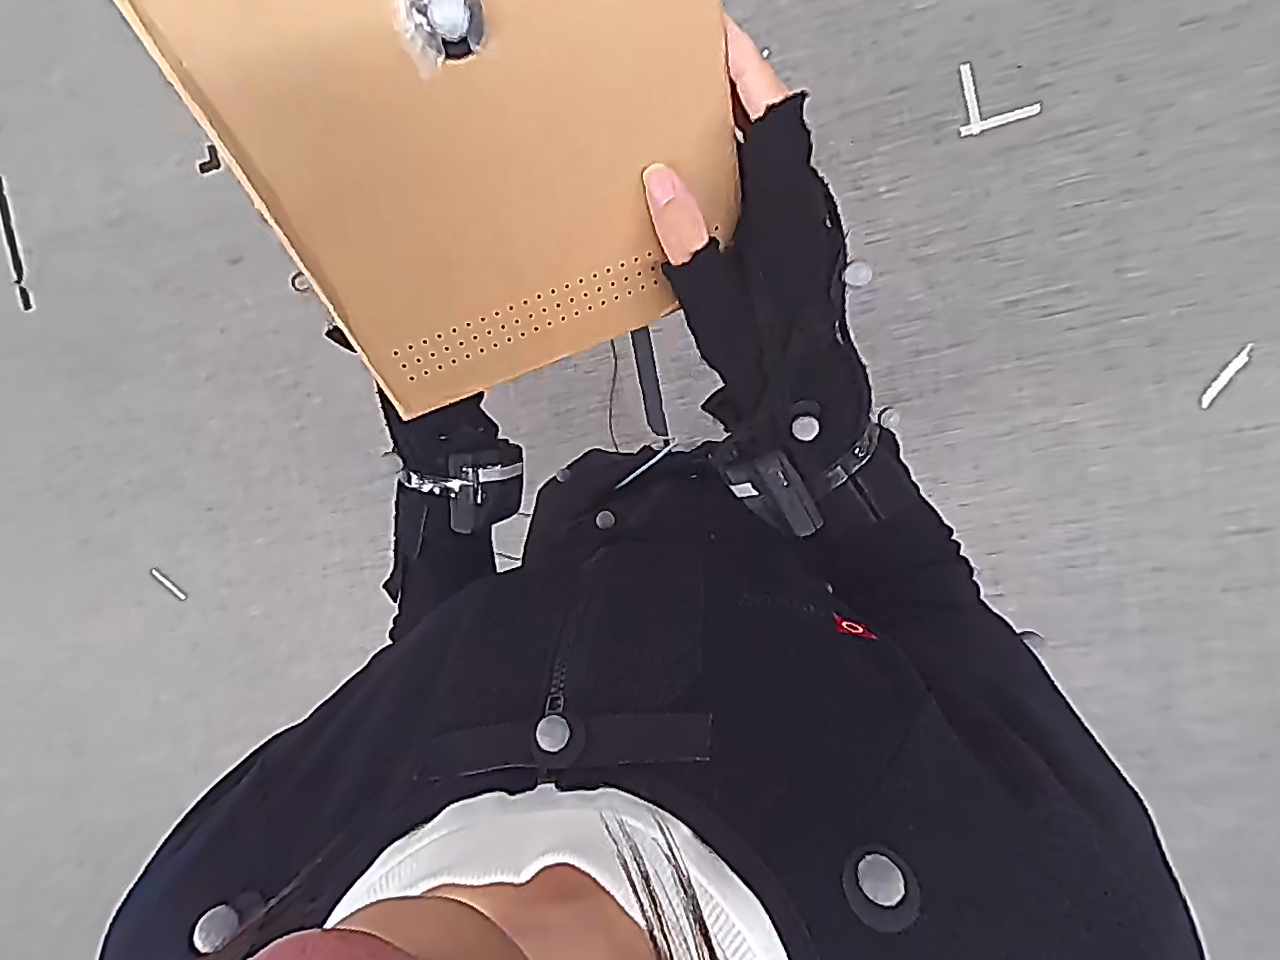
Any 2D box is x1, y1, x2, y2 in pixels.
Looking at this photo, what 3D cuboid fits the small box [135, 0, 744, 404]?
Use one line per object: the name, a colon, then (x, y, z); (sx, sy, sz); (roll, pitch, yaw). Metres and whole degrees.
small box: (-0.068, -0.164, 0.258); (0.179, 0.168, 0.176); (-23, 134, -4)
